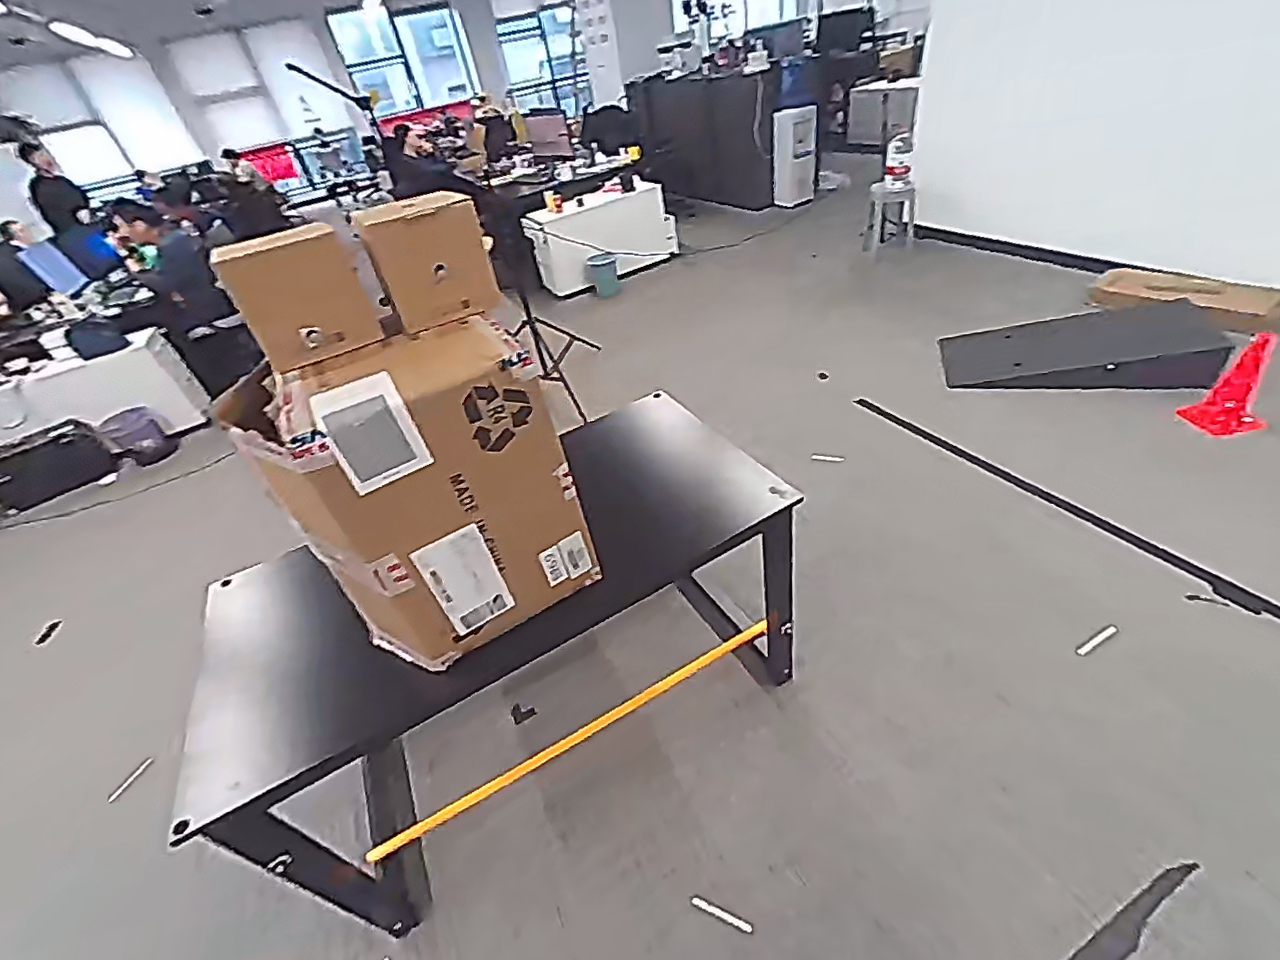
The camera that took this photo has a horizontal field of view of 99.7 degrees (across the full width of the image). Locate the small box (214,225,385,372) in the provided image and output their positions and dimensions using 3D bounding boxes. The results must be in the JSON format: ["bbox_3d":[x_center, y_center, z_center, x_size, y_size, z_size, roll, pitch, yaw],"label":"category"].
[{"bbox_3d":[-0.537,-0.291,0.862,0.168,0.176,0.179,-30,40,-22],"label":"small box"}]

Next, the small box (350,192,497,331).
[{"bbox_3d":[-0.362,-0.369,0.916,0.168,0.176,0.179,-25,40,-20],"label":"small box"}]
